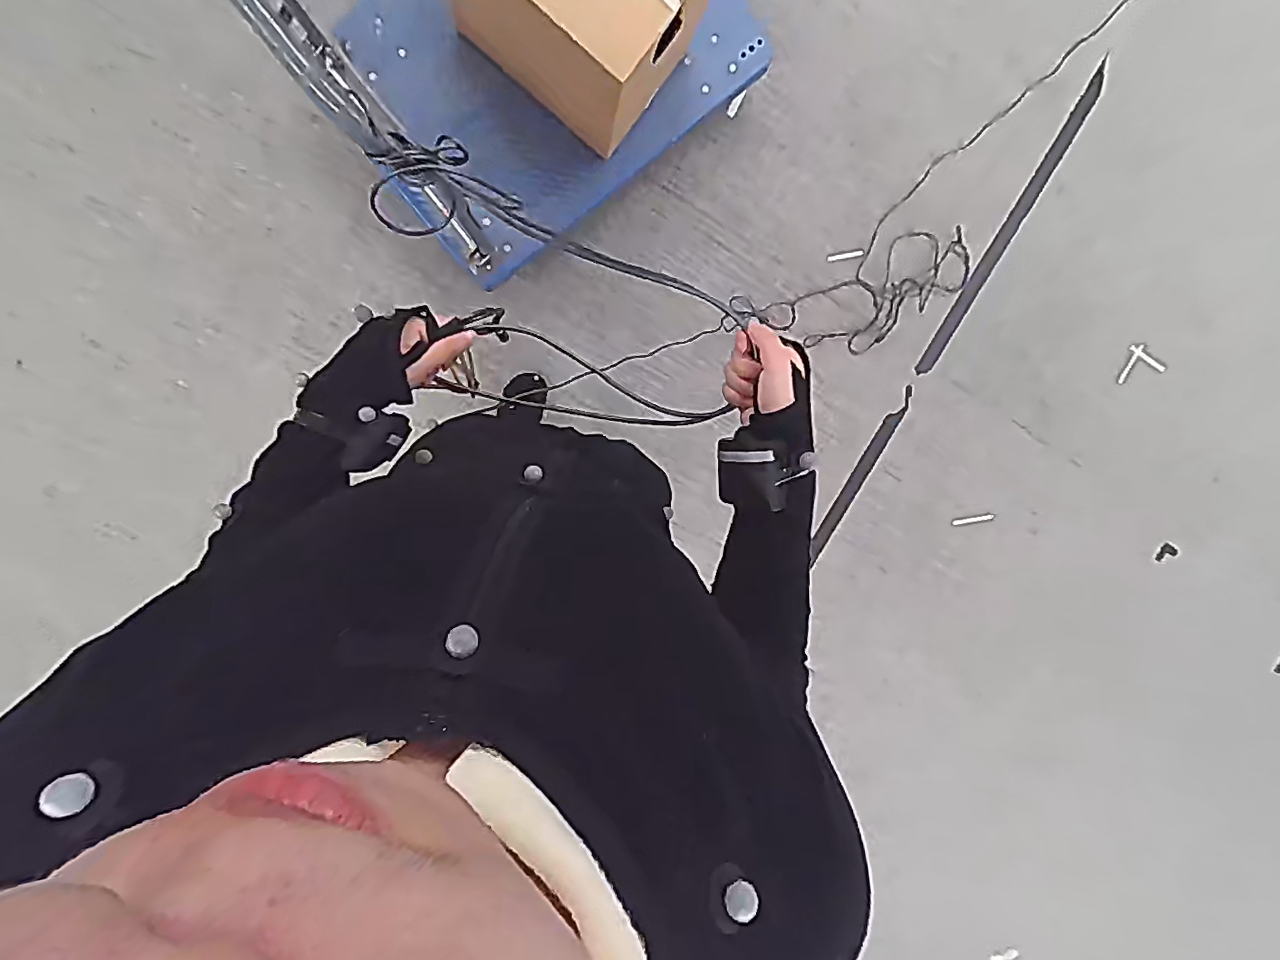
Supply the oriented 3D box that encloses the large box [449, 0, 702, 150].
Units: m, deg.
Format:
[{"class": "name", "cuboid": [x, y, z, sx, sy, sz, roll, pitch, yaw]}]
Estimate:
[{"class": "large box", "cuboid": [-0.120, -0.939, 1.015, 0.408, 0.320, 0.320, 36, 93, -13]}]
